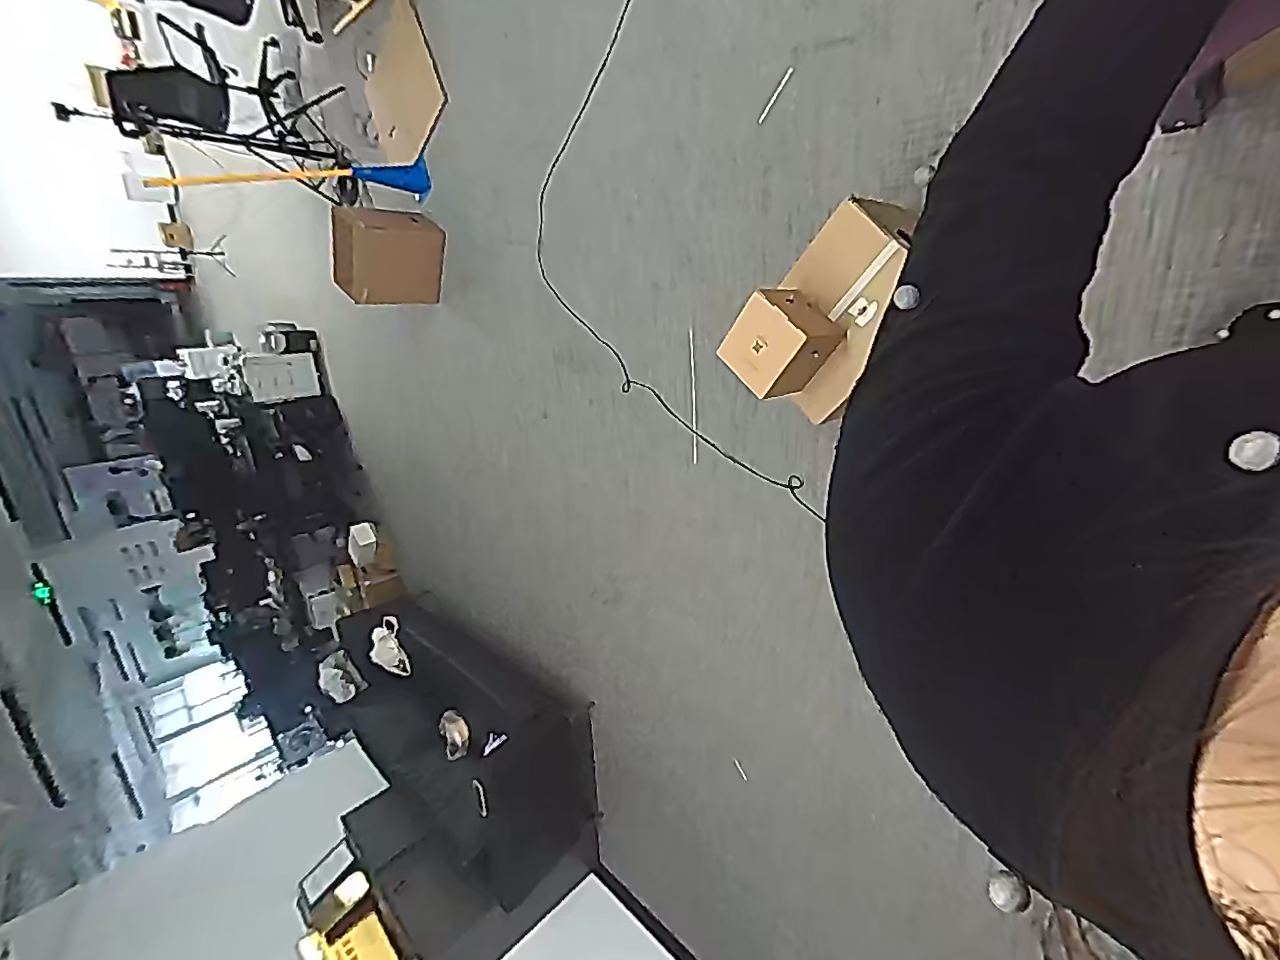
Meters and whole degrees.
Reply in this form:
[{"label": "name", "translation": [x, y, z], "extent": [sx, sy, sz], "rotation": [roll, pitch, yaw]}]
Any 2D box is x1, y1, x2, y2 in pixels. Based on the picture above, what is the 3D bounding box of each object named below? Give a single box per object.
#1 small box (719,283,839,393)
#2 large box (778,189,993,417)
[{"label": "small box", "translation": [0.320, -0.324, 1.225], "extent": [0.168, 0.176, 0.179], "rotation": [53, 136, 21]}, {"label": "large box", "translation": [0.543, -0.417, 1.323], "extent": [0.320, 0.320, 0.408], "rotation": [54, 135, 17]}]
